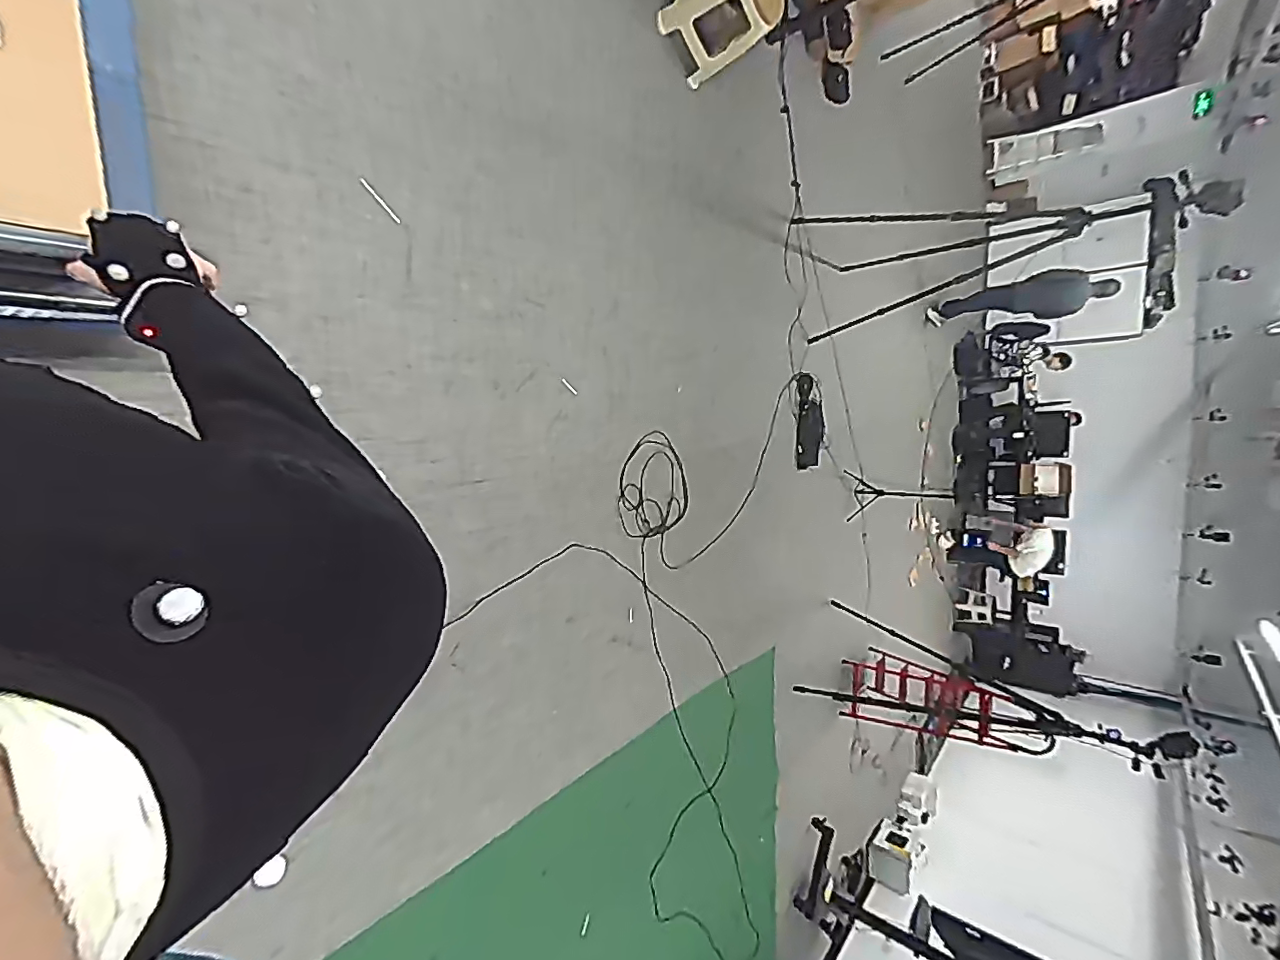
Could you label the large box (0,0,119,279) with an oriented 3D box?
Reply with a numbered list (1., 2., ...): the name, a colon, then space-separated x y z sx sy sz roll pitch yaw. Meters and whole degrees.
1. large box: -1.041 -0.555 0.812 0.320 0.320 0.408 -10 99 -48
